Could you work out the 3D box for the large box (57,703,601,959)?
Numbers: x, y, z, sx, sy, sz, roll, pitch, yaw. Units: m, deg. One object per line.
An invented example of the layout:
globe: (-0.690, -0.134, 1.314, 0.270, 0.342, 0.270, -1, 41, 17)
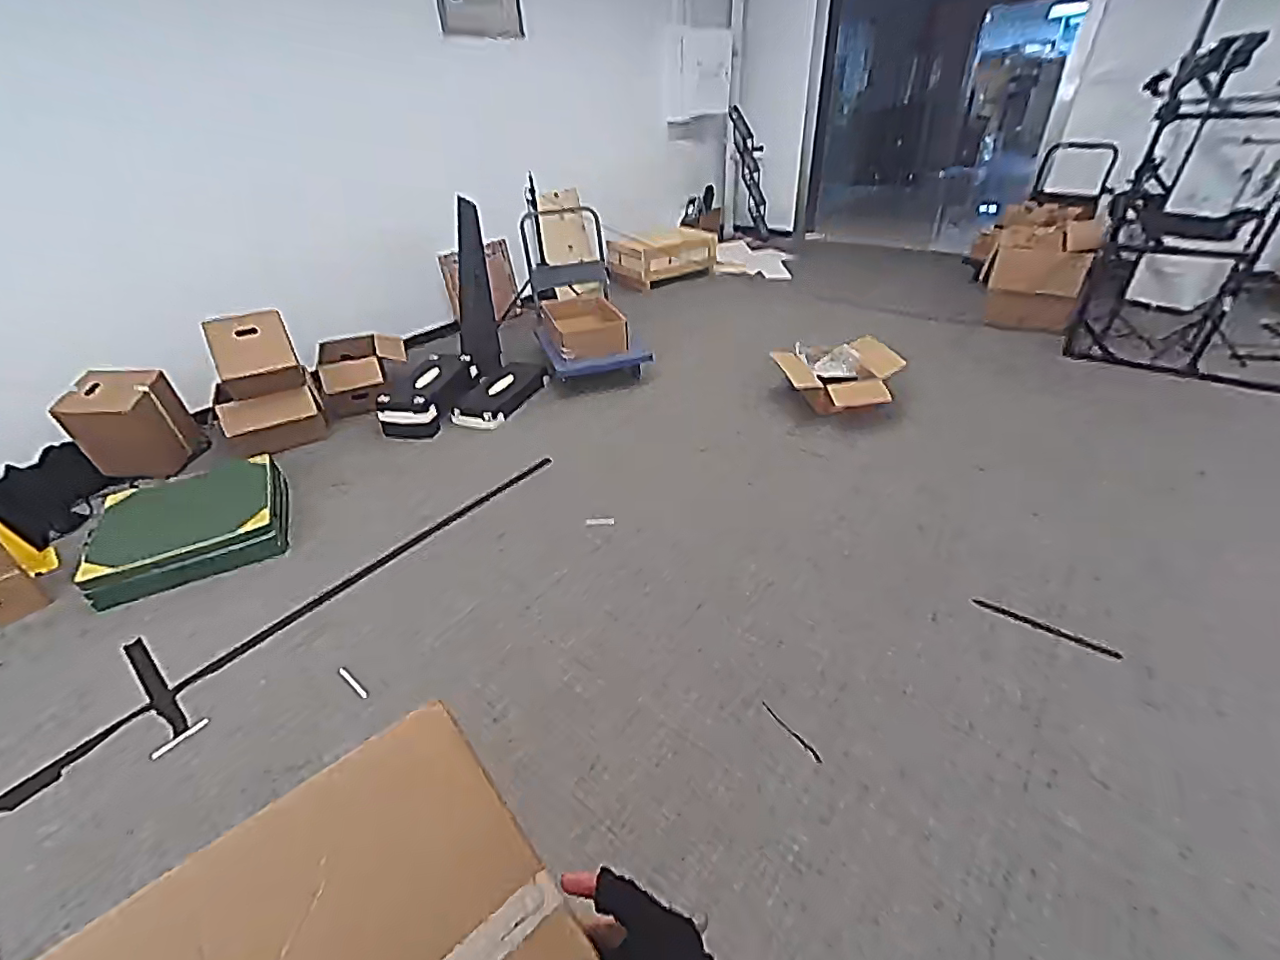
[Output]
large box: (-0.218, 0.450, 0.358, 0.408, 0.320, 0.320, -29, 56, -29)
